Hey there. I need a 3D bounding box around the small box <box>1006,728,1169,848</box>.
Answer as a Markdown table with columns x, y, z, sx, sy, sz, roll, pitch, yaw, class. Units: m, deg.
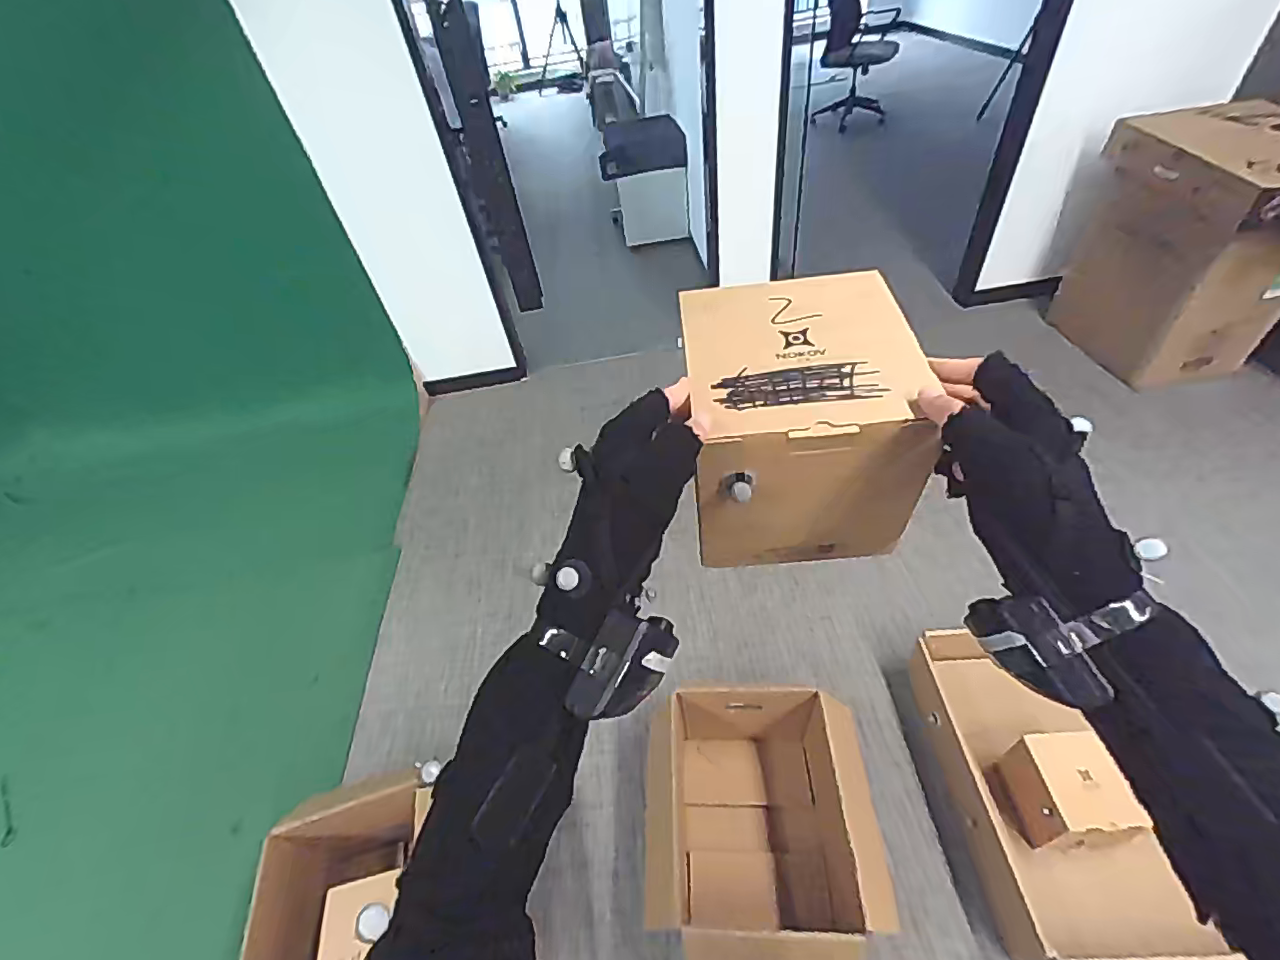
| x | y | z | sx | sy | sz | roll | pitch | yaw | class |
| --- | --- | --- | --- | --- | --- | --- | --- | --- | --- |
| 0.897 | 0.632 | 1.110 | 0.168 | 0.176 | 0.179 | -6 | 46 | 4 | small box |
